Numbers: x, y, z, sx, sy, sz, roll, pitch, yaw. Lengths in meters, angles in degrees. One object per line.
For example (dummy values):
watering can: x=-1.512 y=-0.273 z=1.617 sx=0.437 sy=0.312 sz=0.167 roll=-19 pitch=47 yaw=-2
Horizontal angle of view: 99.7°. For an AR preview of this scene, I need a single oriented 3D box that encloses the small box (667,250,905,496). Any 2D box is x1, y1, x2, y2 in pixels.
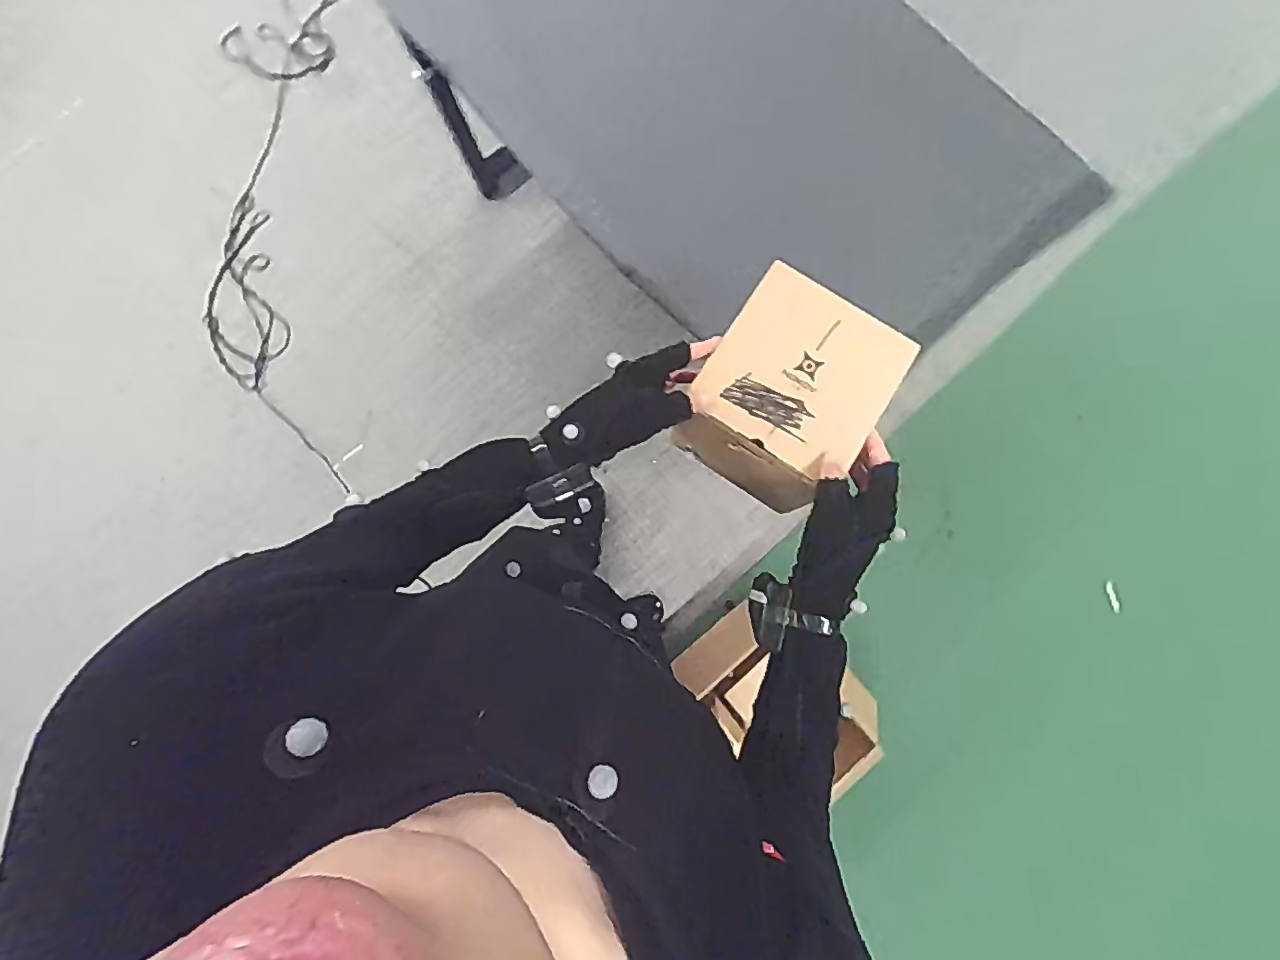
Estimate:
small box: x=0.141 y=-0.099 z=0.589 sx=0.168 sy=0.176 sz=0.179 roll=32 pitch=81 yaw=4
